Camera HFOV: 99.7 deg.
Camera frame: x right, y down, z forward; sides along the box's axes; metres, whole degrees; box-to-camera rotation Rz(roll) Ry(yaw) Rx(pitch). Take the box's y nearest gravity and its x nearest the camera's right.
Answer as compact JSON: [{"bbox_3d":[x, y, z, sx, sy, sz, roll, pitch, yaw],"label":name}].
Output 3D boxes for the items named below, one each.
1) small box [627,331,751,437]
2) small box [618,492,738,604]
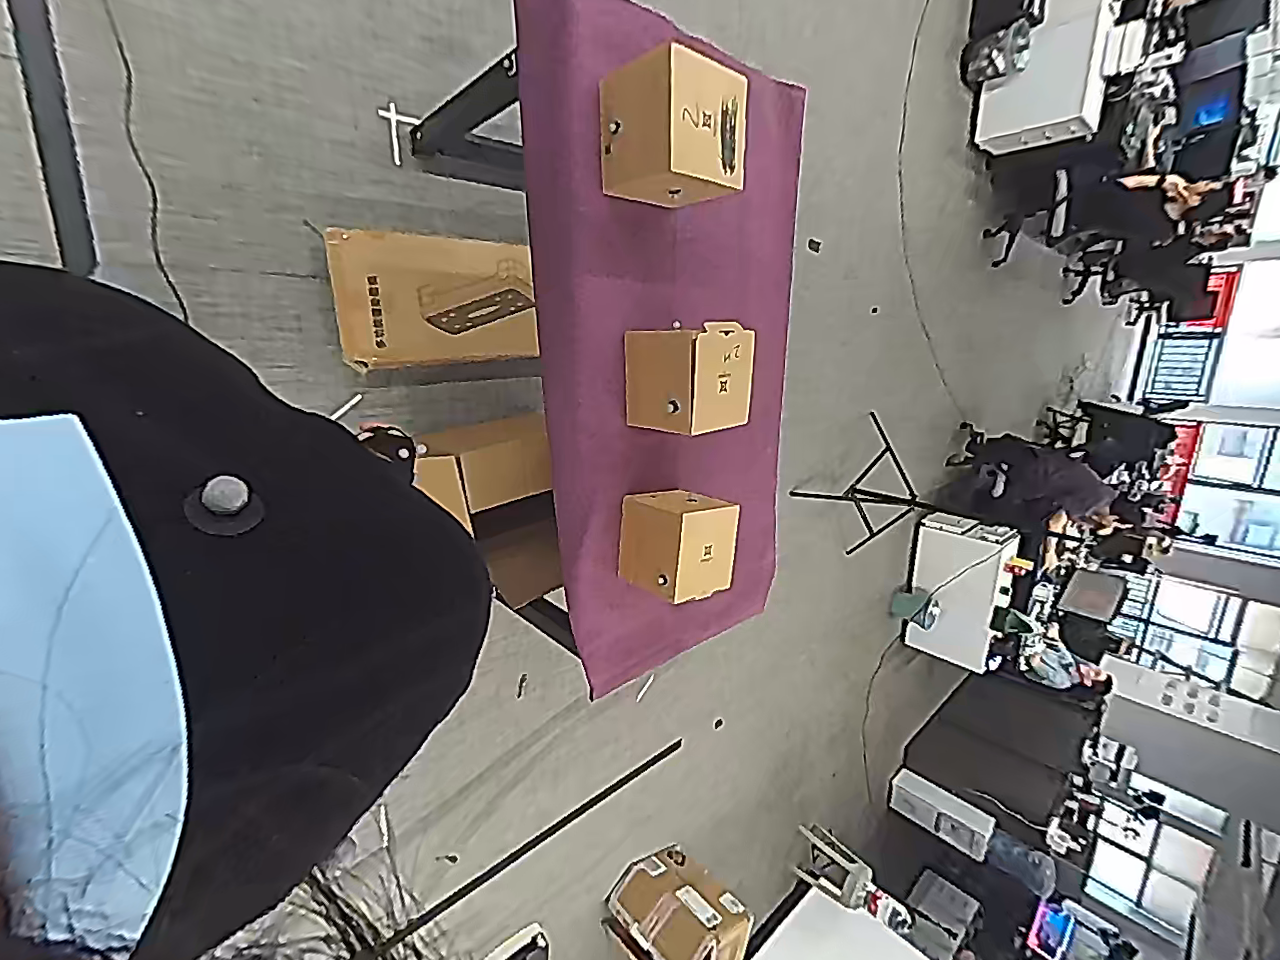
[{"bbox_3d":[0.088,-0.187,1.012,0.168,0.176,0.179,-15,111,-42],"label":"small box"},{"bbox_3d":[0.072,0.124,1.081,0.168,0.176,0.179,-5,105,-42],"label":"small box"}]
